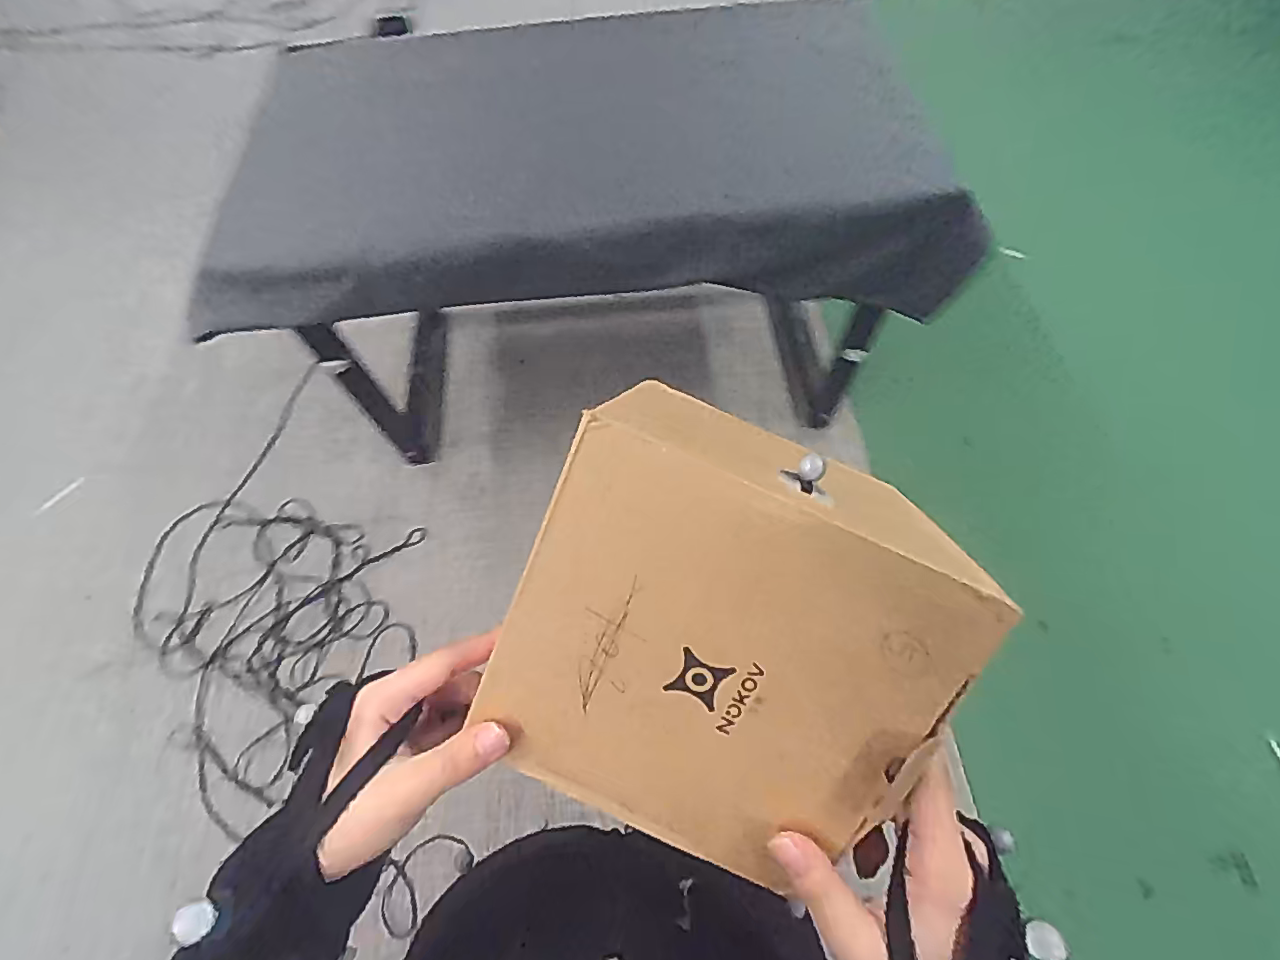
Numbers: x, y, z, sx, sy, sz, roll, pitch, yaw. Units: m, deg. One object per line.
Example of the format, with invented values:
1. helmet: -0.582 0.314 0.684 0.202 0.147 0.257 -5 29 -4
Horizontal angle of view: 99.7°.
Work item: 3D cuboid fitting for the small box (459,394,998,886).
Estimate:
1. small box: 0.036 0.059 0.300 0.179 0.176 0.168 23 105 2
